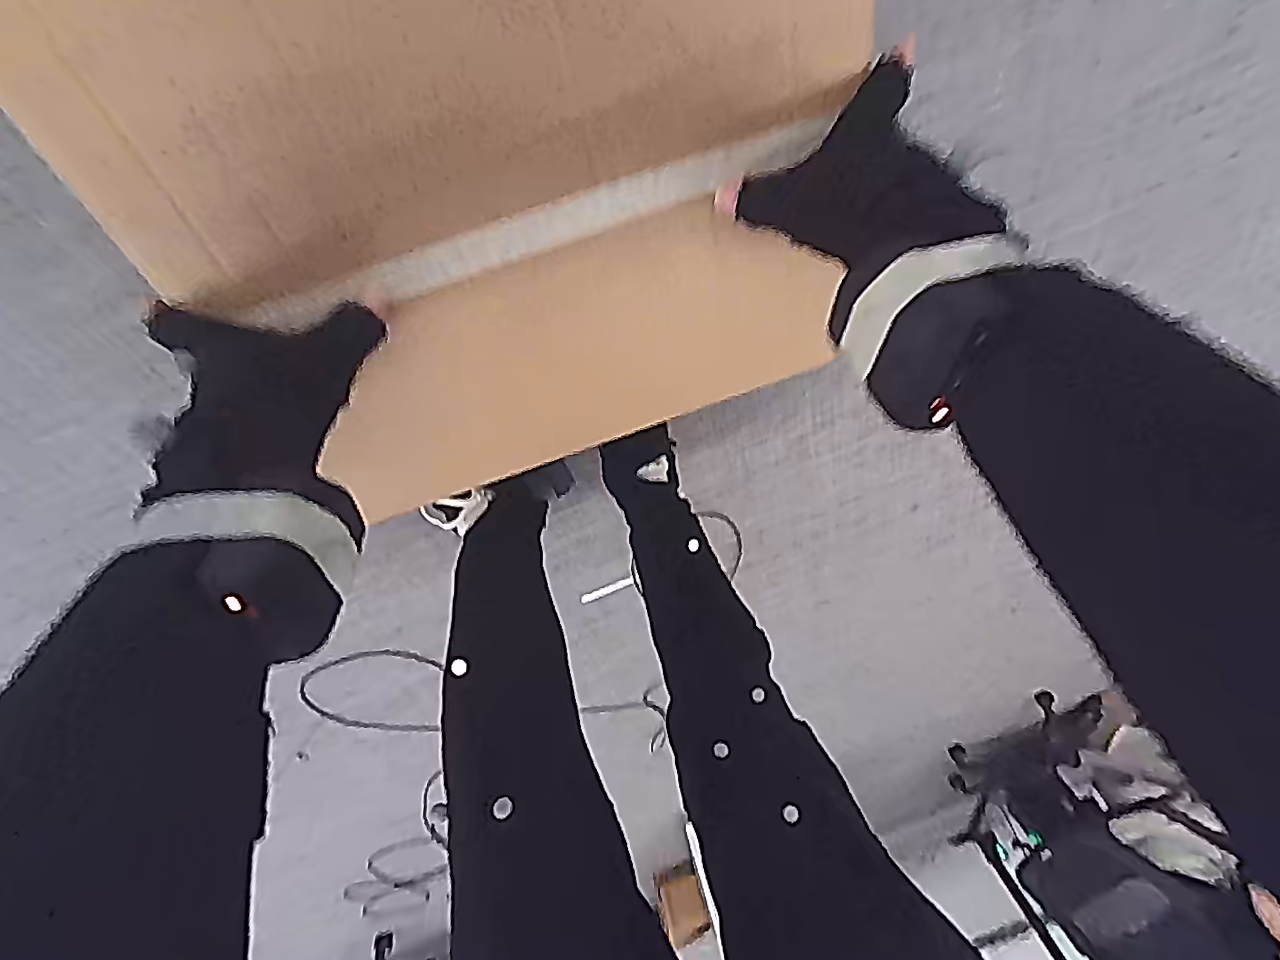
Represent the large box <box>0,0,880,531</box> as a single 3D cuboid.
[{"bbox_3d":[-0.087,-0.226,0.429,0.408,0.320,0.320,-20,132,-3],"label":"large box"}]
